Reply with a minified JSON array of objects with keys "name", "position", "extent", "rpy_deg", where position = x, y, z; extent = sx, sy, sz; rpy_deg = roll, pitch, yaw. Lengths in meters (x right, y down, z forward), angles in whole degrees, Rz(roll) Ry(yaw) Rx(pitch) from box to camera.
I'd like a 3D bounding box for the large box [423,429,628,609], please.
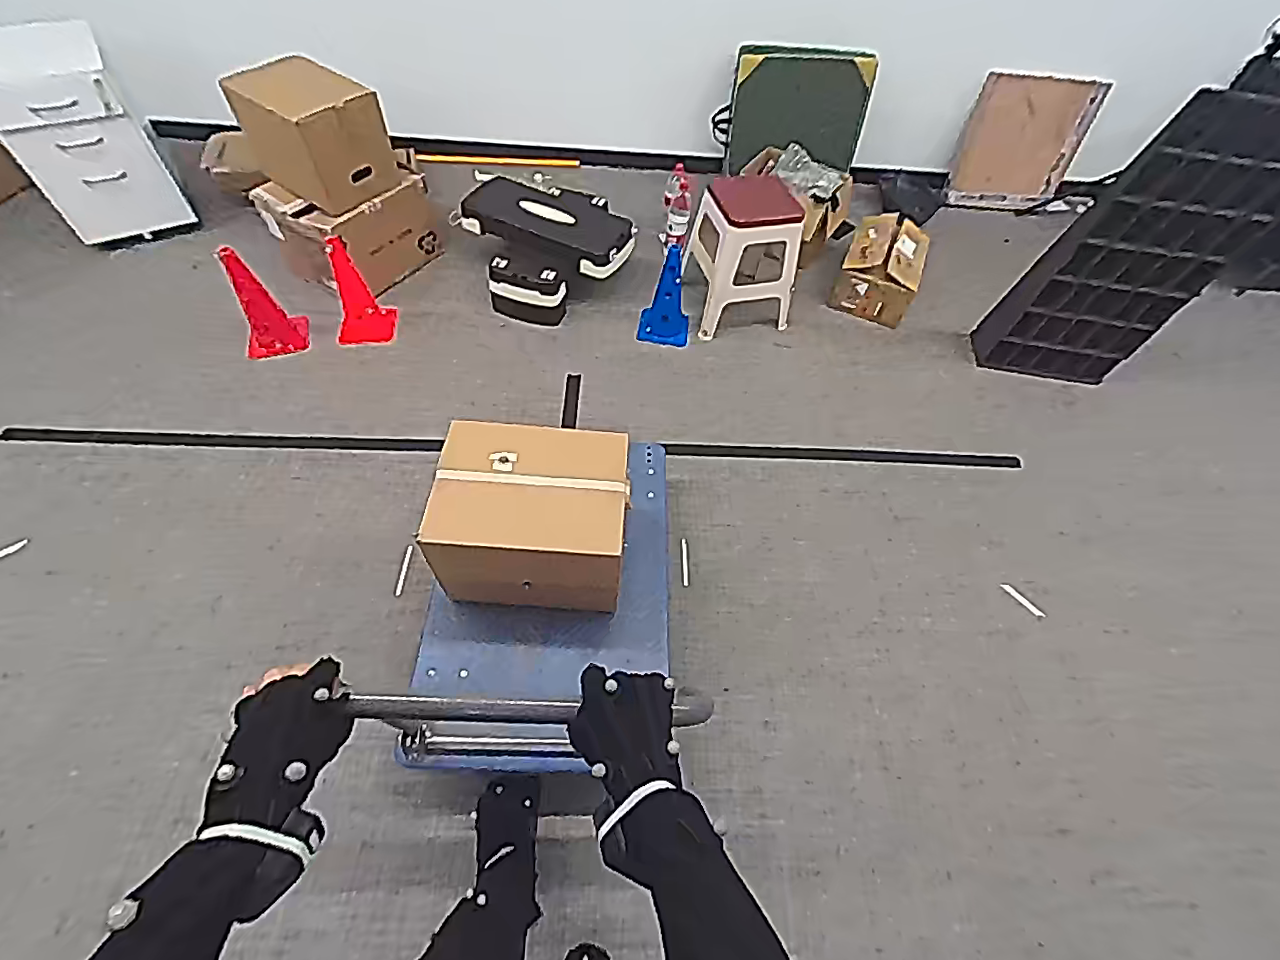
[{"name":"large box","position":[-0.237,0.103,1.283],"extent":[0.408,0.320,0.320],"rpy_deg":[4,56,-1]}]
